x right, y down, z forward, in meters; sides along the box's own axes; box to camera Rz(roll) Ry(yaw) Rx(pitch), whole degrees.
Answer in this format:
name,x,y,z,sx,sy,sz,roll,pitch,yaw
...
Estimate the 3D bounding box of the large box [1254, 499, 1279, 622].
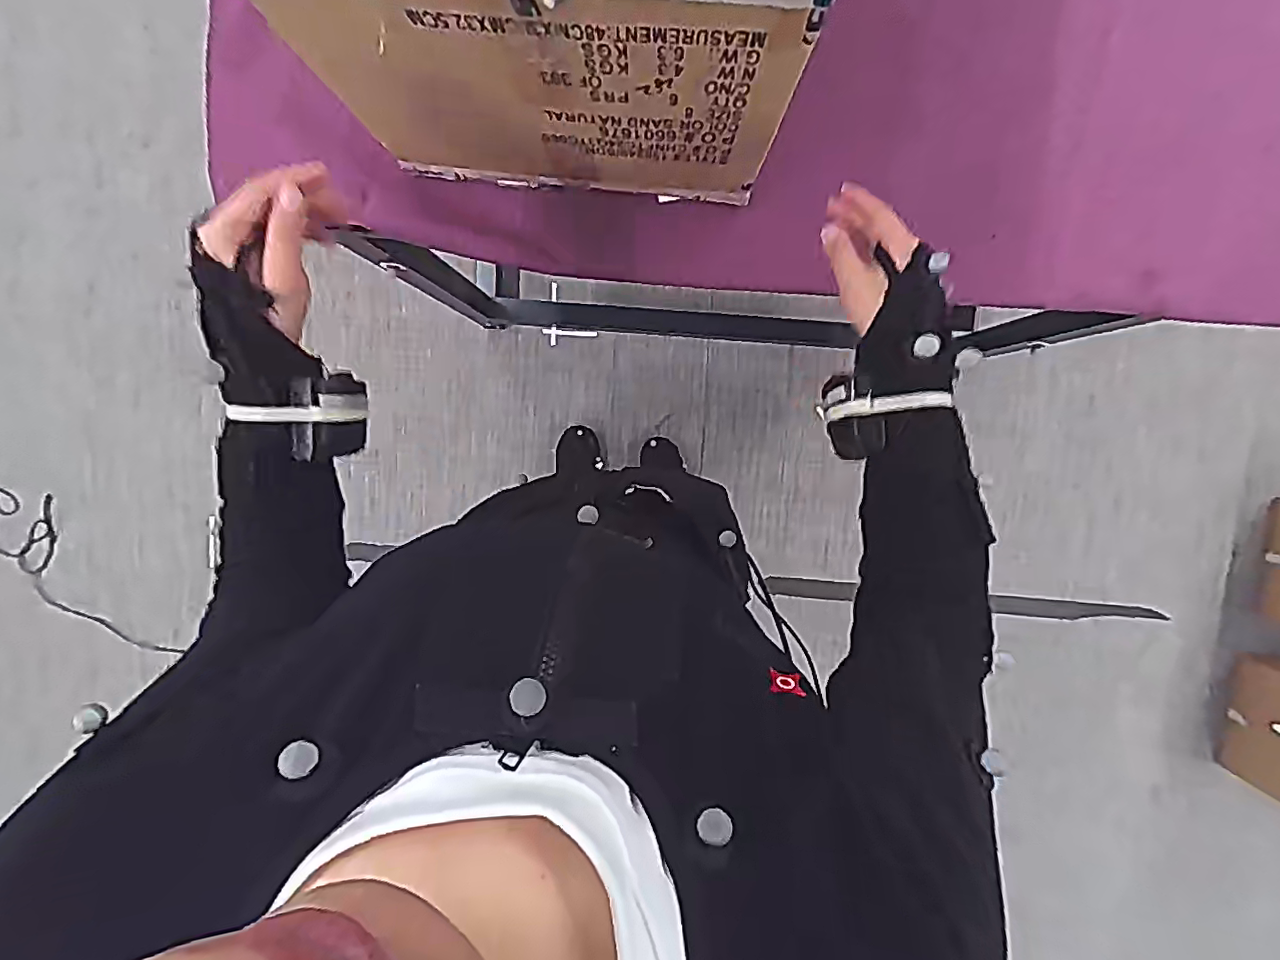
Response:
name,x,y,z,sx,sy,sz,roll,pitch,yaw
large box,1.775,0.219,1.219,0.408,0.320,0.320,3,95,2
